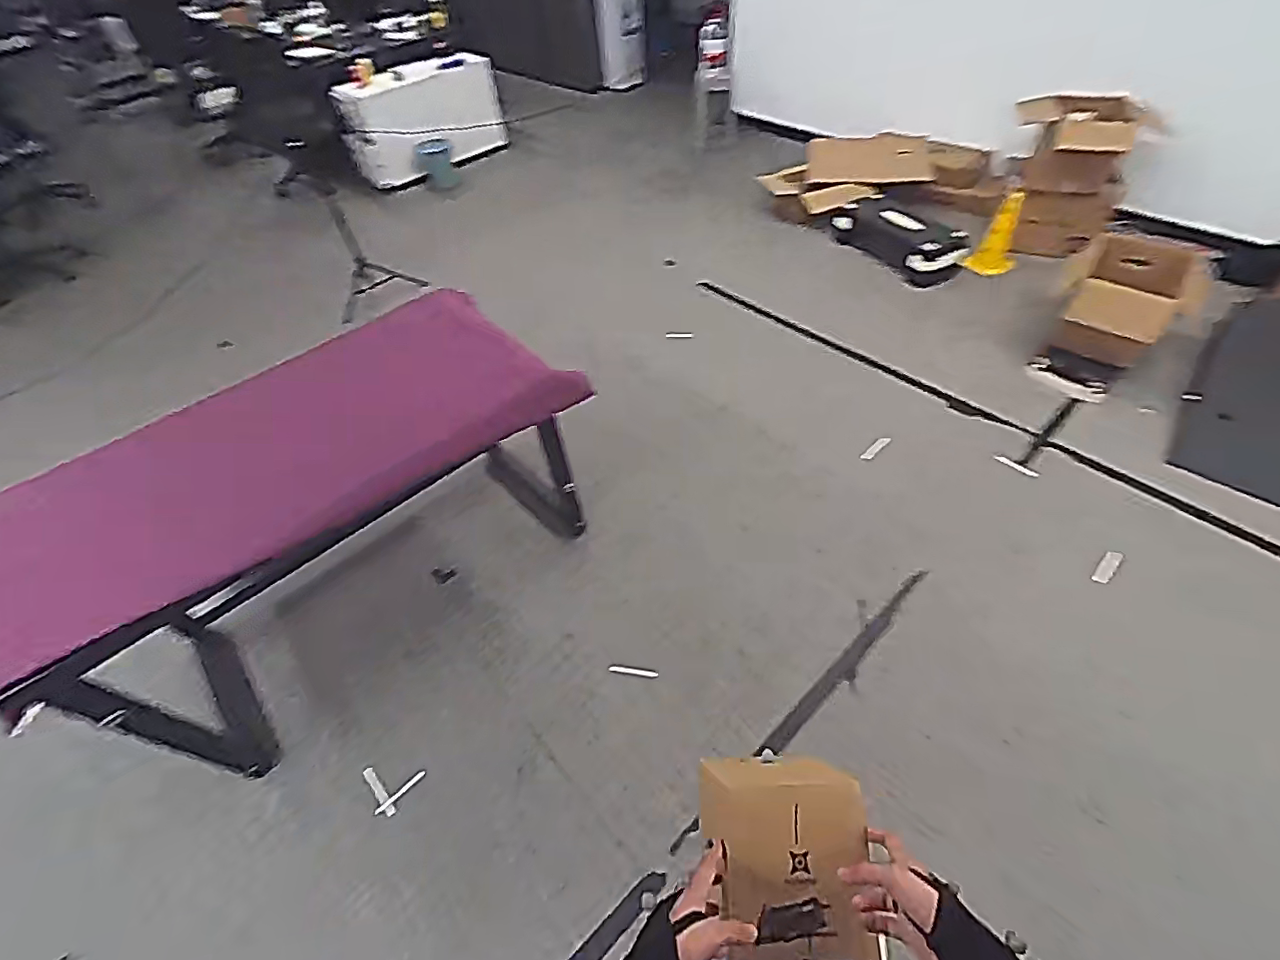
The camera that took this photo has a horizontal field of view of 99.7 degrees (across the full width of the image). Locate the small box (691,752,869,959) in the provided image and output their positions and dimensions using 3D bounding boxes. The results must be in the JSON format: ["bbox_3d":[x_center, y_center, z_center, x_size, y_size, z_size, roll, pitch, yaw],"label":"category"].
[{"bbox_3d":[0.159,0.451,0.675,0.168,0.176,0.179,1,71,-5],"label":"small box"}]
